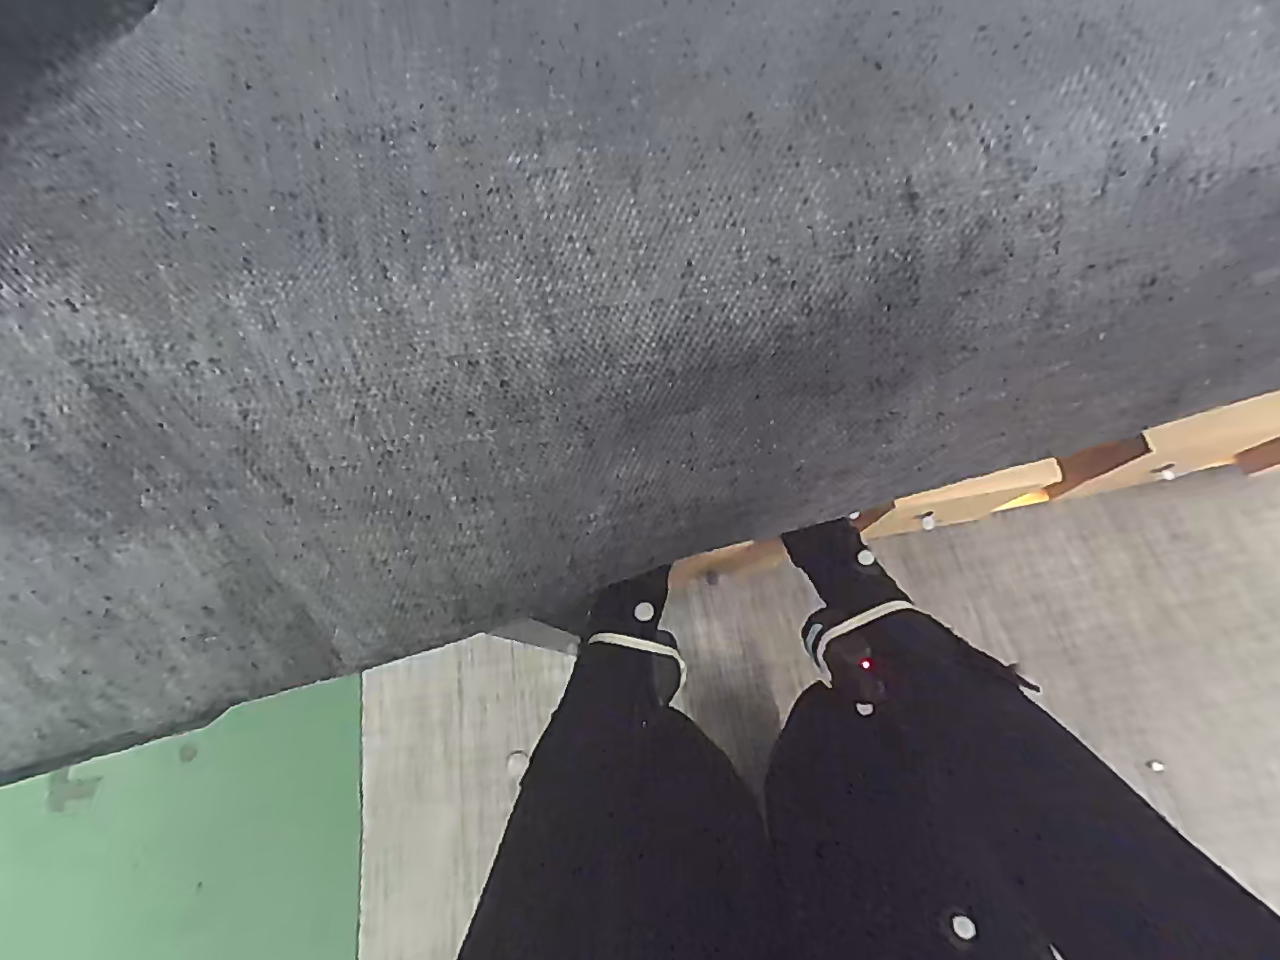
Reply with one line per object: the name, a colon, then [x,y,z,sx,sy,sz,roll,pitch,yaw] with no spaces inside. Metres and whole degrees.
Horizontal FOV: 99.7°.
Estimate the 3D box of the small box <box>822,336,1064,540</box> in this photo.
small box: [0.330,-0.035,0.632,0.168,0.176,0.179,-11,70,2]
